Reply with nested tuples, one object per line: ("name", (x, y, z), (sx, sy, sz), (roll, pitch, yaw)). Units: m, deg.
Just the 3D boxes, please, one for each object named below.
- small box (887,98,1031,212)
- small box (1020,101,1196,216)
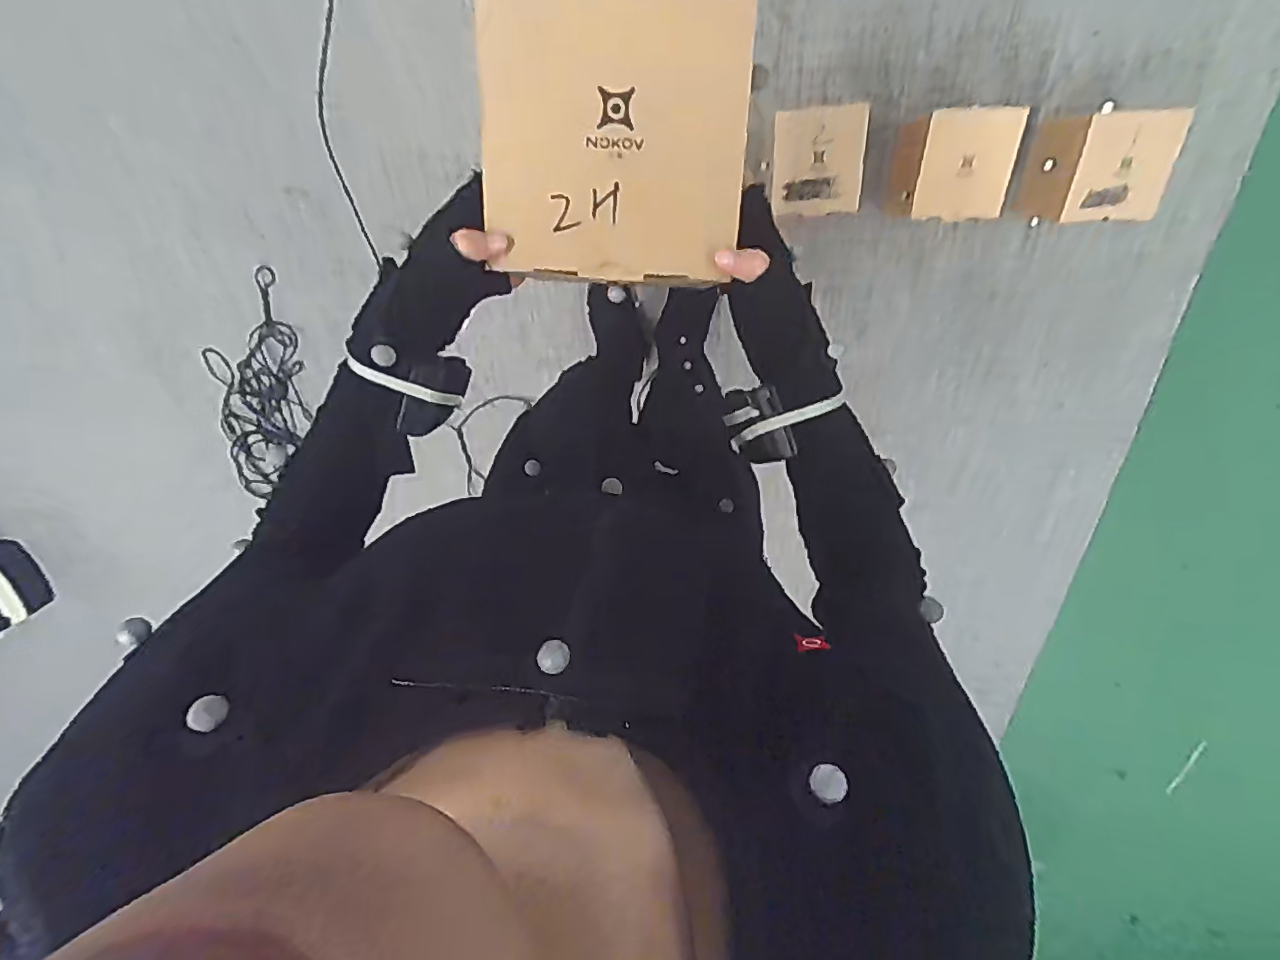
("small box", (0.600, -0.622, 1.045), (0.168, 0.176, 0.179), (1, 121, 4))
("small box", (0.868, -0.608, 1.029), (0.168, 0.176, 0.179), (1, 120, 5))
